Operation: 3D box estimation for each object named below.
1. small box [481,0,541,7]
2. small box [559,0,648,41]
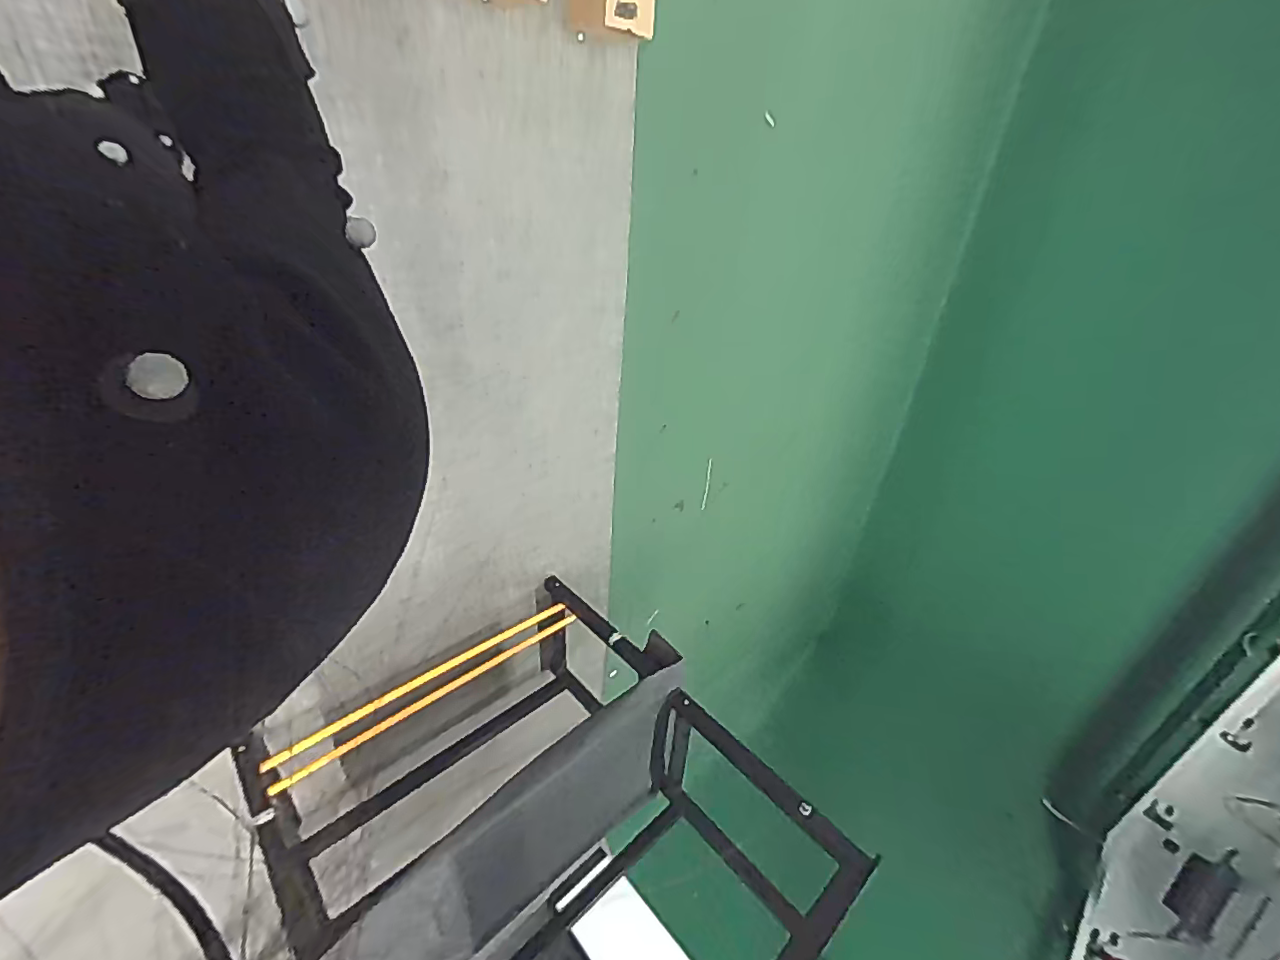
[{"bbox_3d":[-0.321,-1.169,1.171,0.168,0.176,0.179,-17,127,-42],"label":"small box"},{"bbox_3d":[-0.093,-1.249,1.378,0.168,0.176,0.179,-22,129,-39],"label":"small box"}]
